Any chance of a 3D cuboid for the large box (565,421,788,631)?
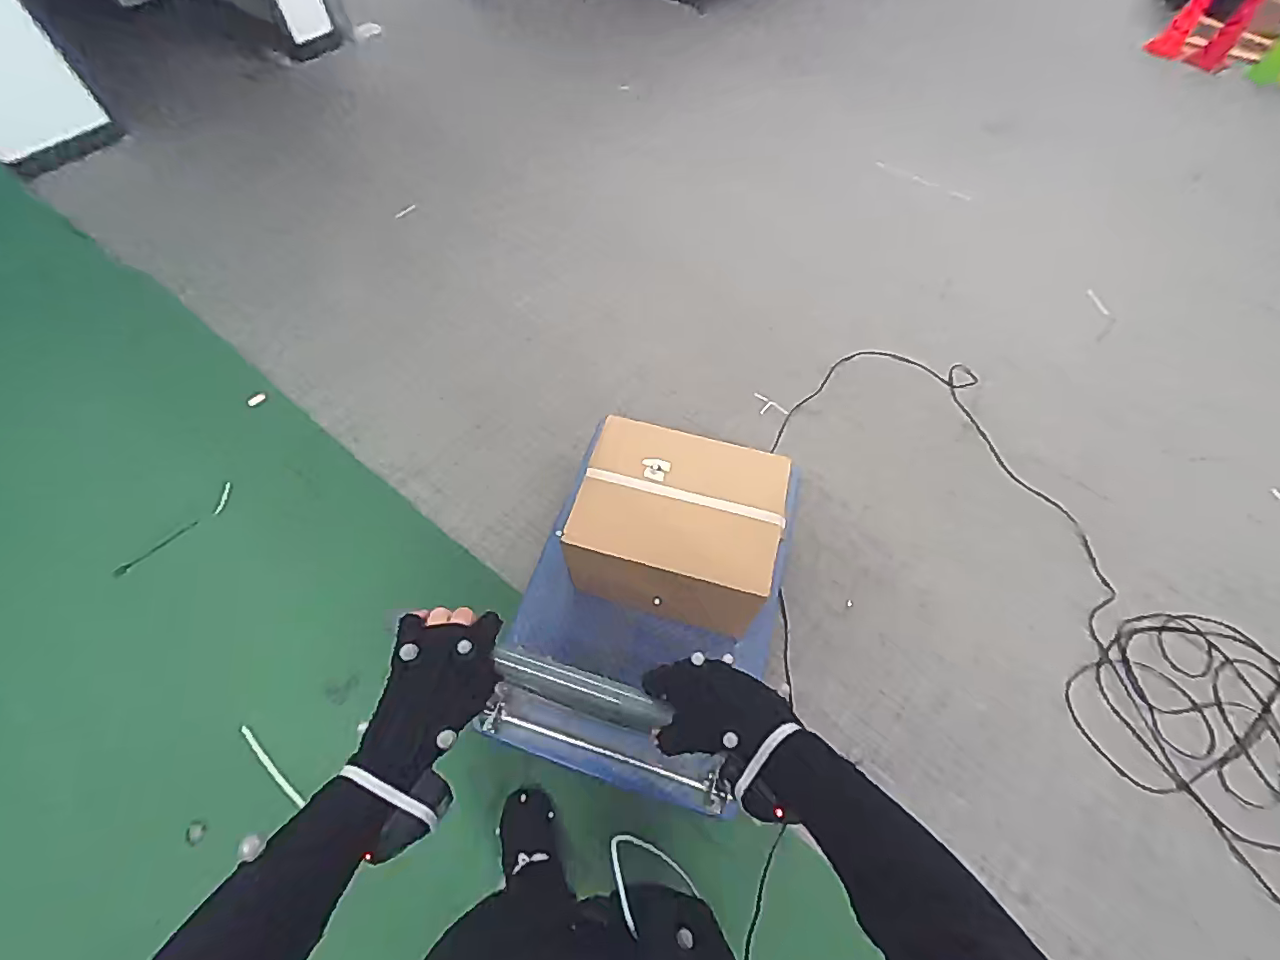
[{"bbox_3d":[0.086,0.113,1.217,0.408,0.320,0.320,13,60,8],"label":"large box"}]
